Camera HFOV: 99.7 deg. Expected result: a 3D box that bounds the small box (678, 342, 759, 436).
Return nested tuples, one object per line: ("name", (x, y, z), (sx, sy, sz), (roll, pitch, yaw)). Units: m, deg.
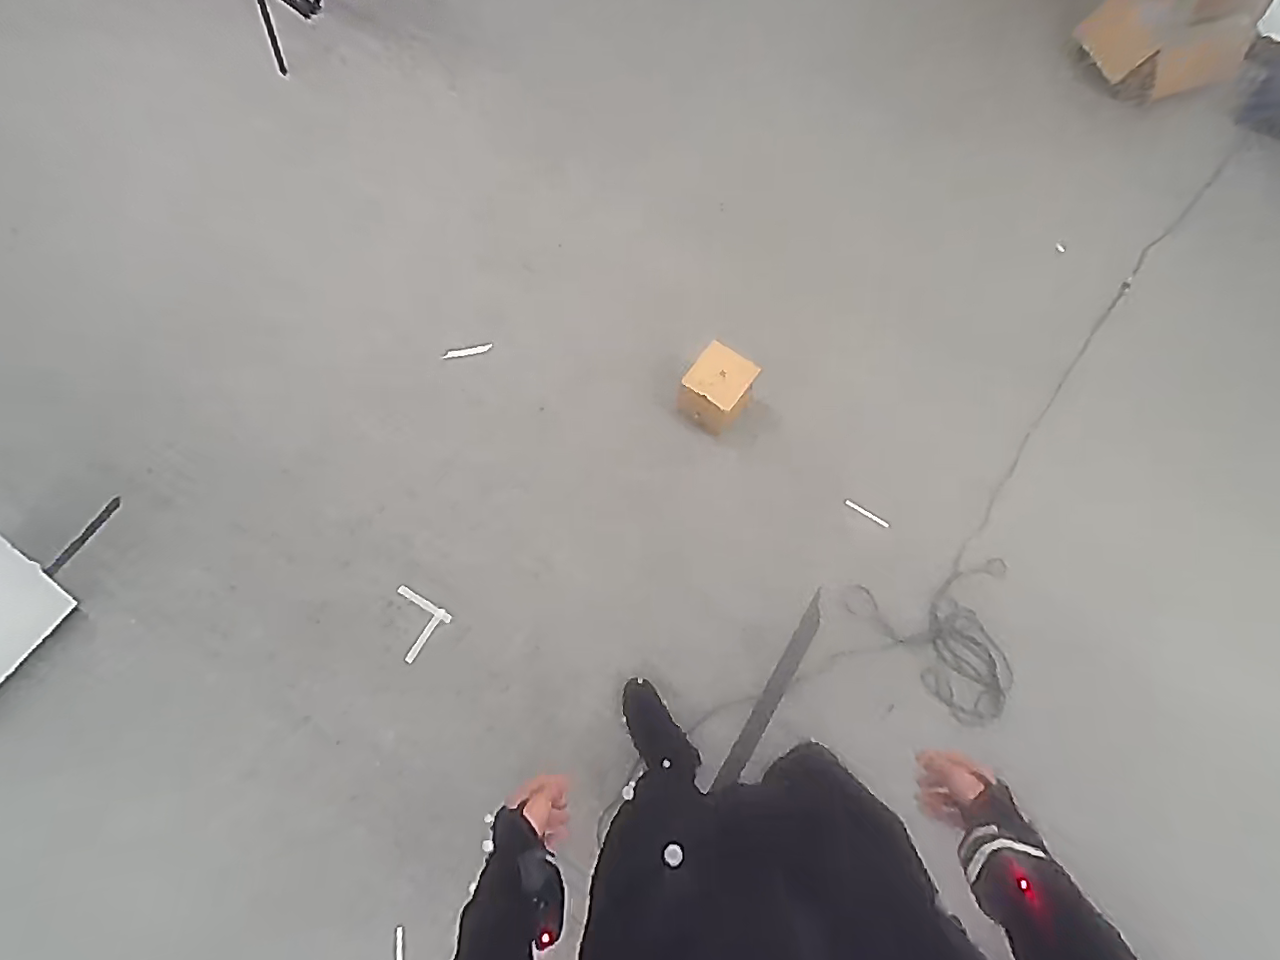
("small box", (0.225, -0.264, 1.601), (0.168, 0.176, 0.179), (35, 75, 11))
